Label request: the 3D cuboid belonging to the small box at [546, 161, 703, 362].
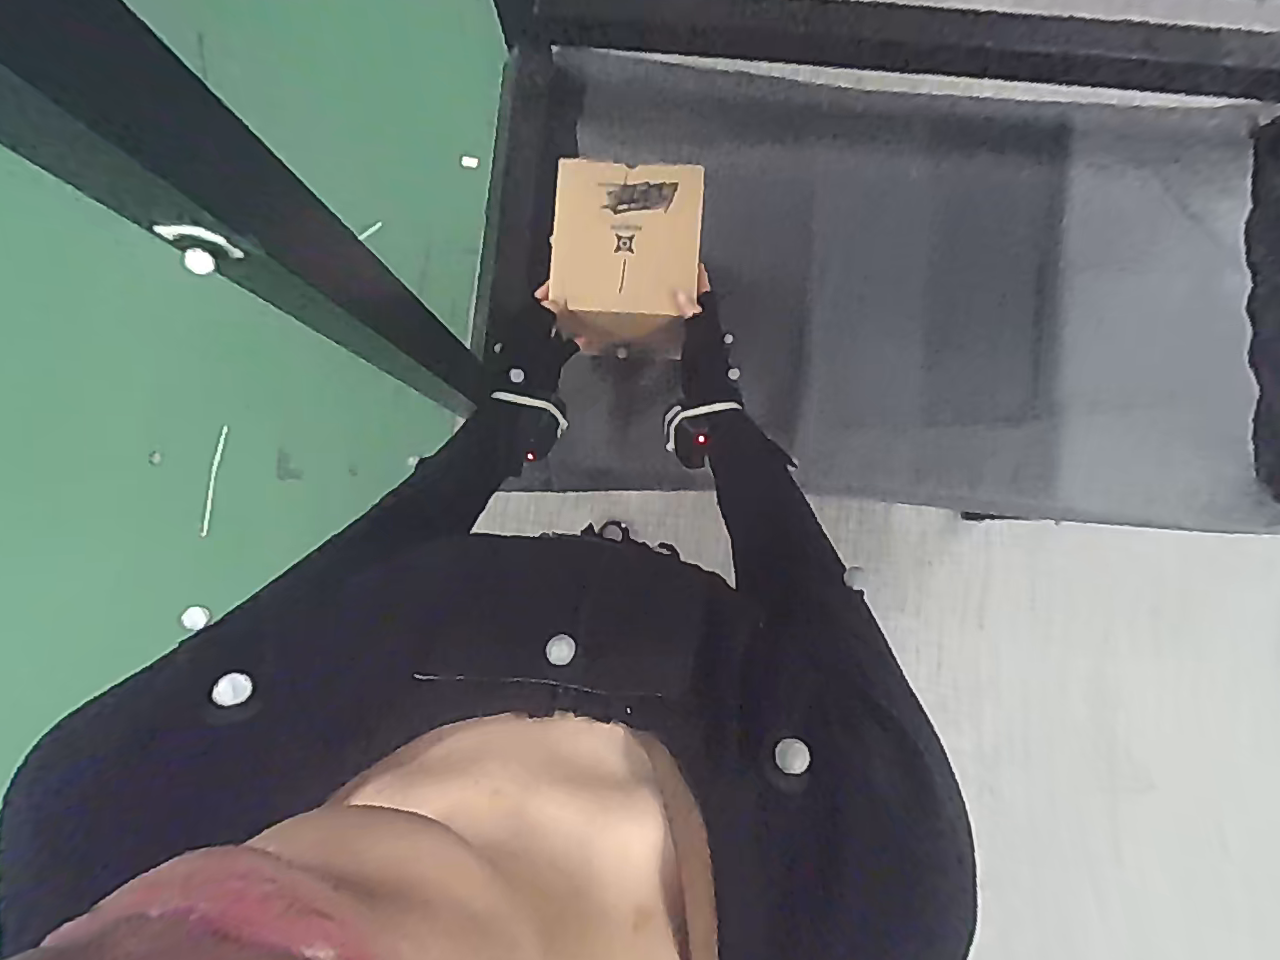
[{"bbox_3d":[-0.014,-0.262,0.678,0.168,0.176,0.179,4,87,3],"label":"small box"}]
